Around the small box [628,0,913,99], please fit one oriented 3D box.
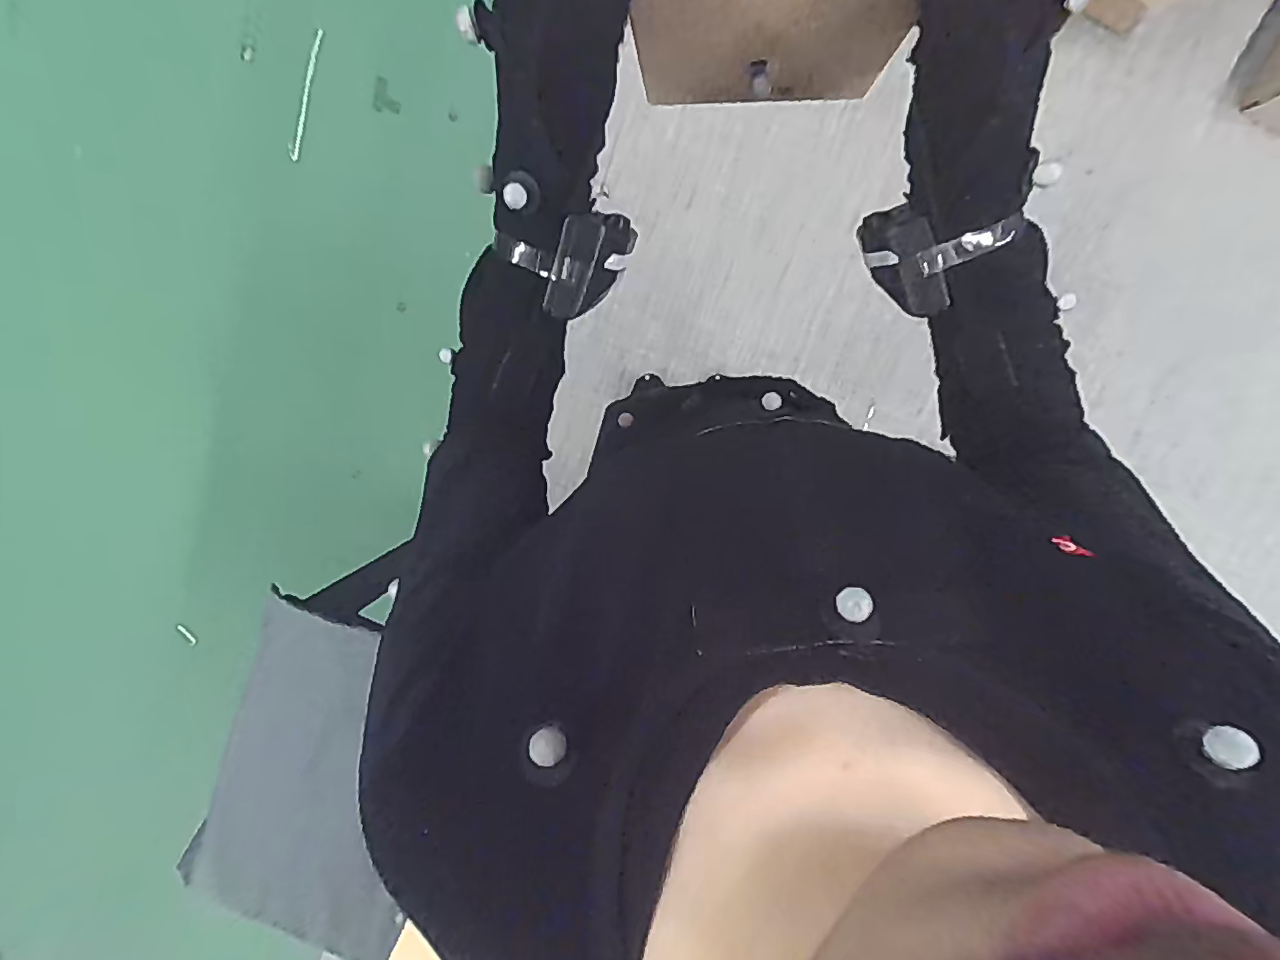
[{"bbox_3d":[0.076,-0.359,0.317,0.168,0.176,0.179,2,105,6],"label":"small box"}]
